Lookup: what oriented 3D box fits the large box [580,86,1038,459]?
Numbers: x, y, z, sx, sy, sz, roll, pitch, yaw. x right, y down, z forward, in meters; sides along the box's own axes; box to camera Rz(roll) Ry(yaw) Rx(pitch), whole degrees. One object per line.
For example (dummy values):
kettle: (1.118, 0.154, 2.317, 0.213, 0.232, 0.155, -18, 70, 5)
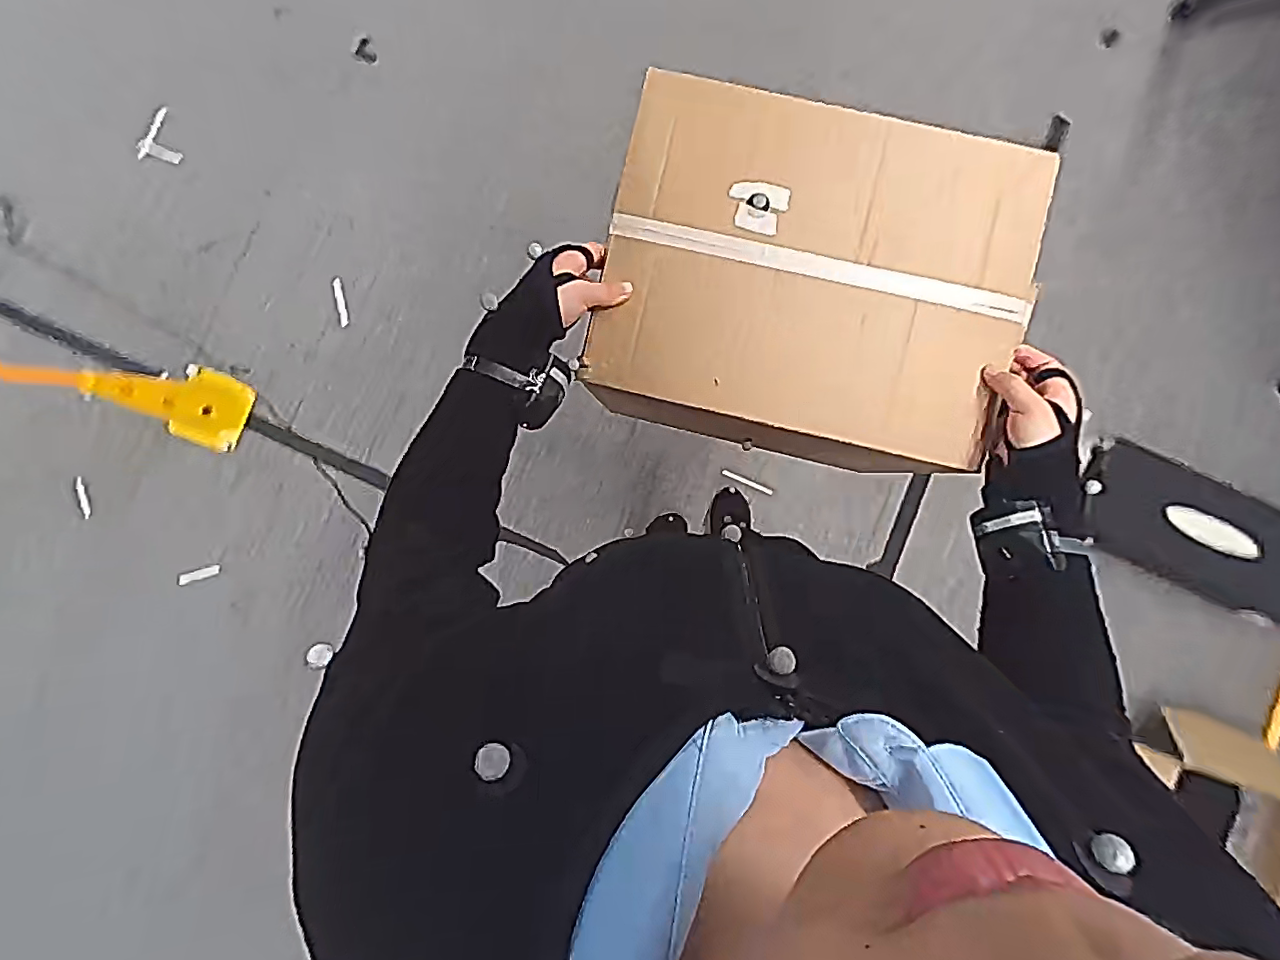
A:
large box: (0.172, -0.212, 0.683, 0.408, 0.320, 0.320, 12, 90, 3)
